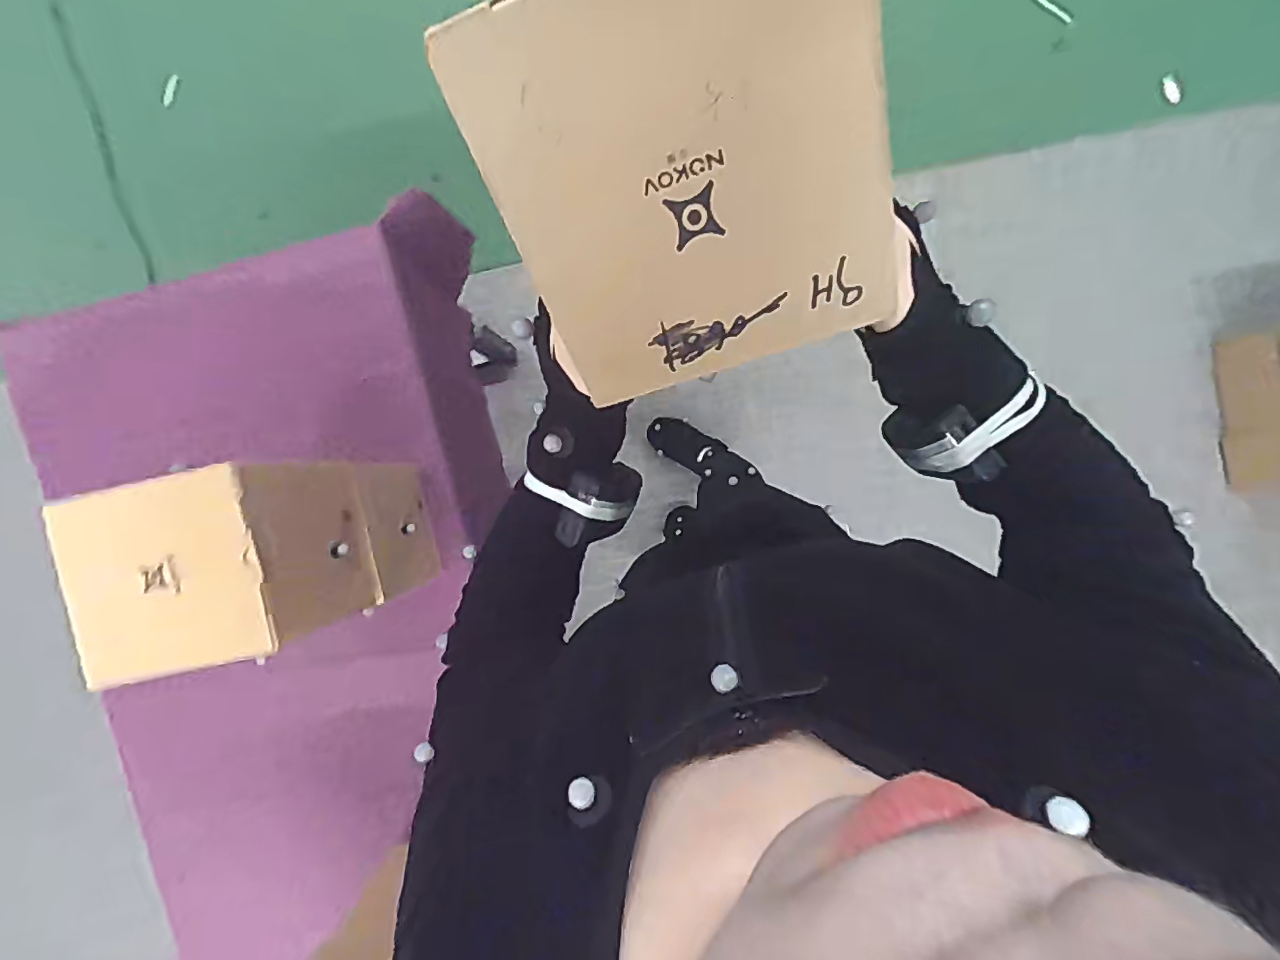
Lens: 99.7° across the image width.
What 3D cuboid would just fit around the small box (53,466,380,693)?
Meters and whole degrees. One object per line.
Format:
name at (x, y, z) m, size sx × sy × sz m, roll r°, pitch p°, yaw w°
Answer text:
small box at (-0.399, 0.085, 0.541) m, size 0.179 × 0.176 × 0.168 m, roll -14°, pitch 92°, yaw 2°

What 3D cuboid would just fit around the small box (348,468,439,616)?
small box at (-0.383, 0.081, 0.704) m, size 0.179 × 0.176 × 0.168 m, roll -14°, pitch 91°, yaw 3°
